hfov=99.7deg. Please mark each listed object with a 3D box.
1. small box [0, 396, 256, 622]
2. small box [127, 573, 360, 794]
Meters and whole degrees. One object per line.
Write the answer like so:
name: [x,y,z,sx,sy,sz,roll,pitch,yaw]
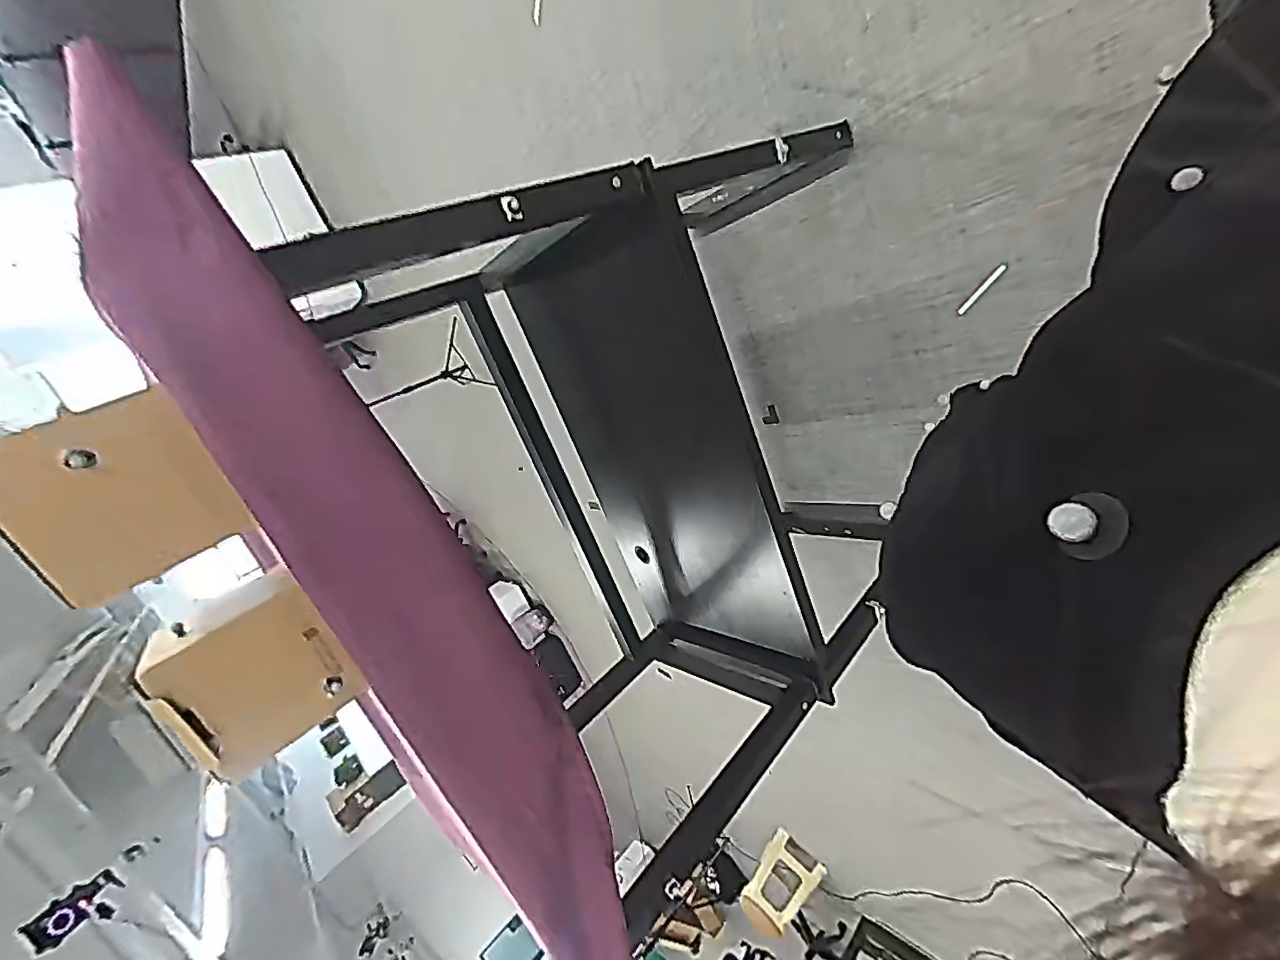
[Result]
small box: [-0.559,0.015,0.585,0.168,0.176,0.179,8,125,50]
small box: [-0.481,0.235,0.677,0.179,0.176,0.168,2,120,52]
